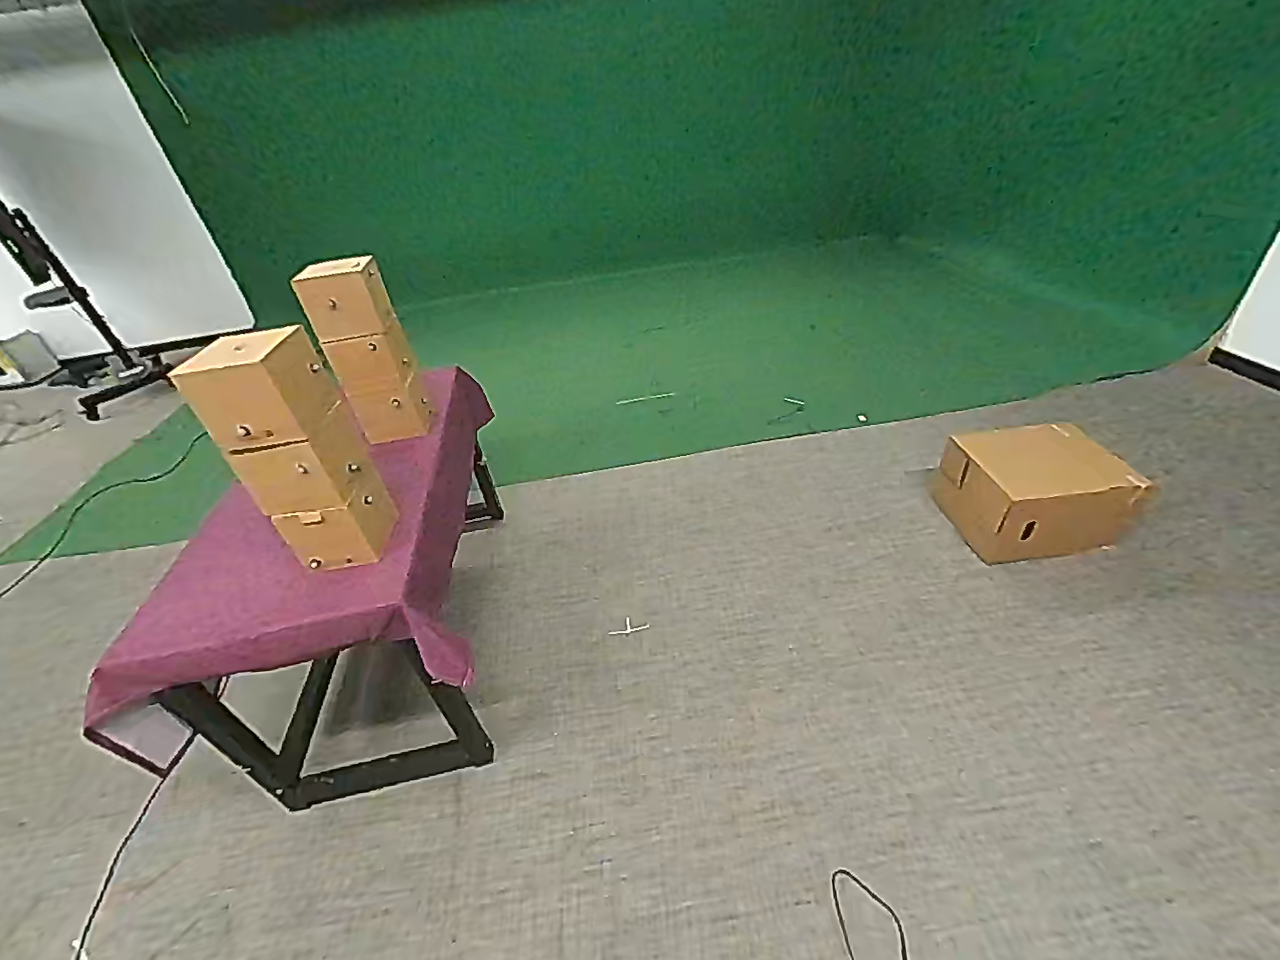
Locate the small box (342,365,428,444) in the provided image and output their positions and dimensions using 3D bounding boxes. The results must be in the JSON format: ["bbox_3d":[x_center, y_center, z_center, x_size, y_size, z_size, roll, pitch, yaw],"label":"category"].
[{"bbox_3d":[-0.776,-0.234,1.670,0.179,0.176,0.168,-11,37,-3],"label":"small box"}]

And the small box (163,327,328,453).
[{"bbox_3d":[-0.736,-0.174,1.038,0.168,0.176,0.179,-9,37,0],"label":"small box"}]

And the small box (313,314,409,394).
[{"bbox_3d":[-0.803,-0.364,1.576,0.179,0.176,0.168,-10,37,-3],"label":"small box"}]

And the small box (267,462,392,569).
[{"bbox_3d":[-0.693,0.086,1.233,0.168,0.176,0.179,-9,36,-1],"label":"small box"}]

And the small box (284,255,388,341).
[{"bbox_3d":[-0.820,-0.495,1.477,0.179,0.176,0.168,-13,38,-6],"label":"small box"}]
